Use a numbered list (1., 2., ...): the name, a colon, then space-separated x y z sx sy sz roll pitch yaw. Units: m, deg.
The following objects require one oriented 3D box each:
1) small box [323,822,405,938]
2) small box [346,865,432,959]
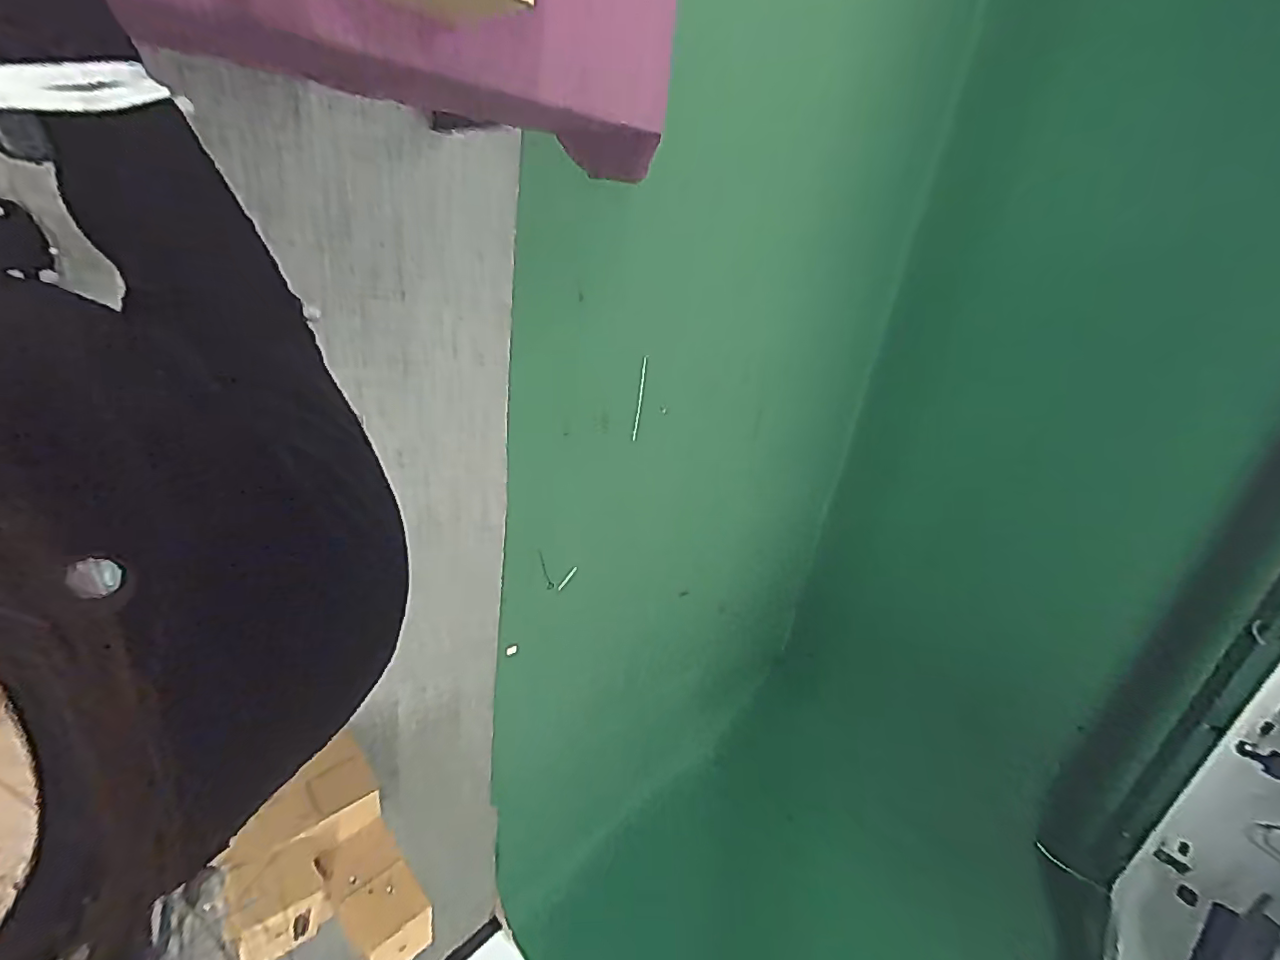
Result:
1. small box: -0.811 1.166 1.587 0.179 0.176 0.168 -17 126 -44
2. small box: -0.693 1.226 1.493 0.168 0.176 0.179 -15 123 -45
